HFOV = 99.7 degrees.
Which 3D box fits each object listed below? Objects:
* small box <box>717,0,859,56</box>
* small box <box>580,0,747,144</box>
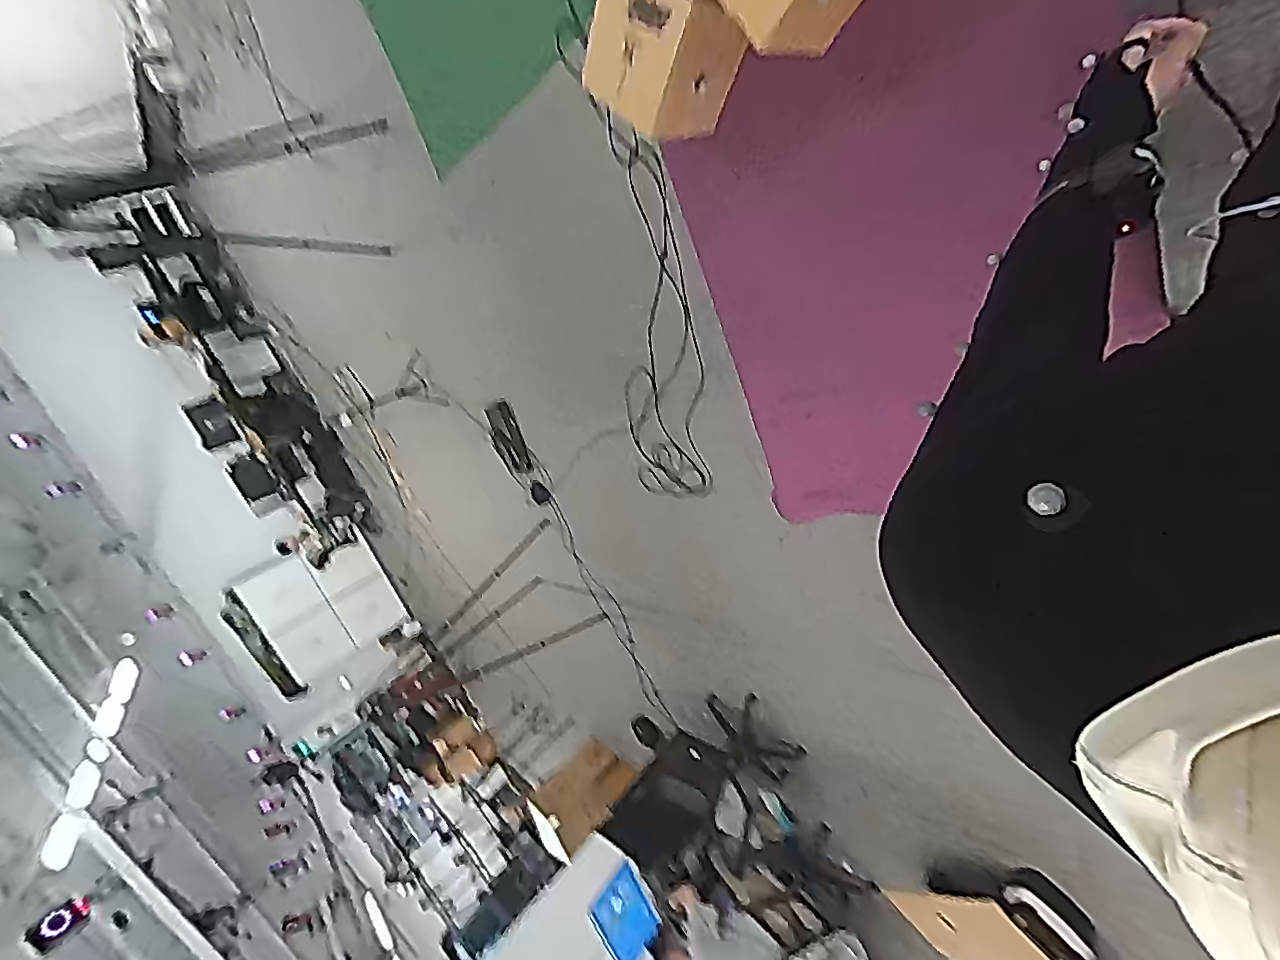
[{"bbox_3d":[0.193,-0.657,0.645,0.168,0.176,0.179,54,145,1],"label":"small box"},{"bbox_3d":[0.039,-0.651,0.821,0.168,0.176,0.179,46,144,13],"label":"small box"}]
